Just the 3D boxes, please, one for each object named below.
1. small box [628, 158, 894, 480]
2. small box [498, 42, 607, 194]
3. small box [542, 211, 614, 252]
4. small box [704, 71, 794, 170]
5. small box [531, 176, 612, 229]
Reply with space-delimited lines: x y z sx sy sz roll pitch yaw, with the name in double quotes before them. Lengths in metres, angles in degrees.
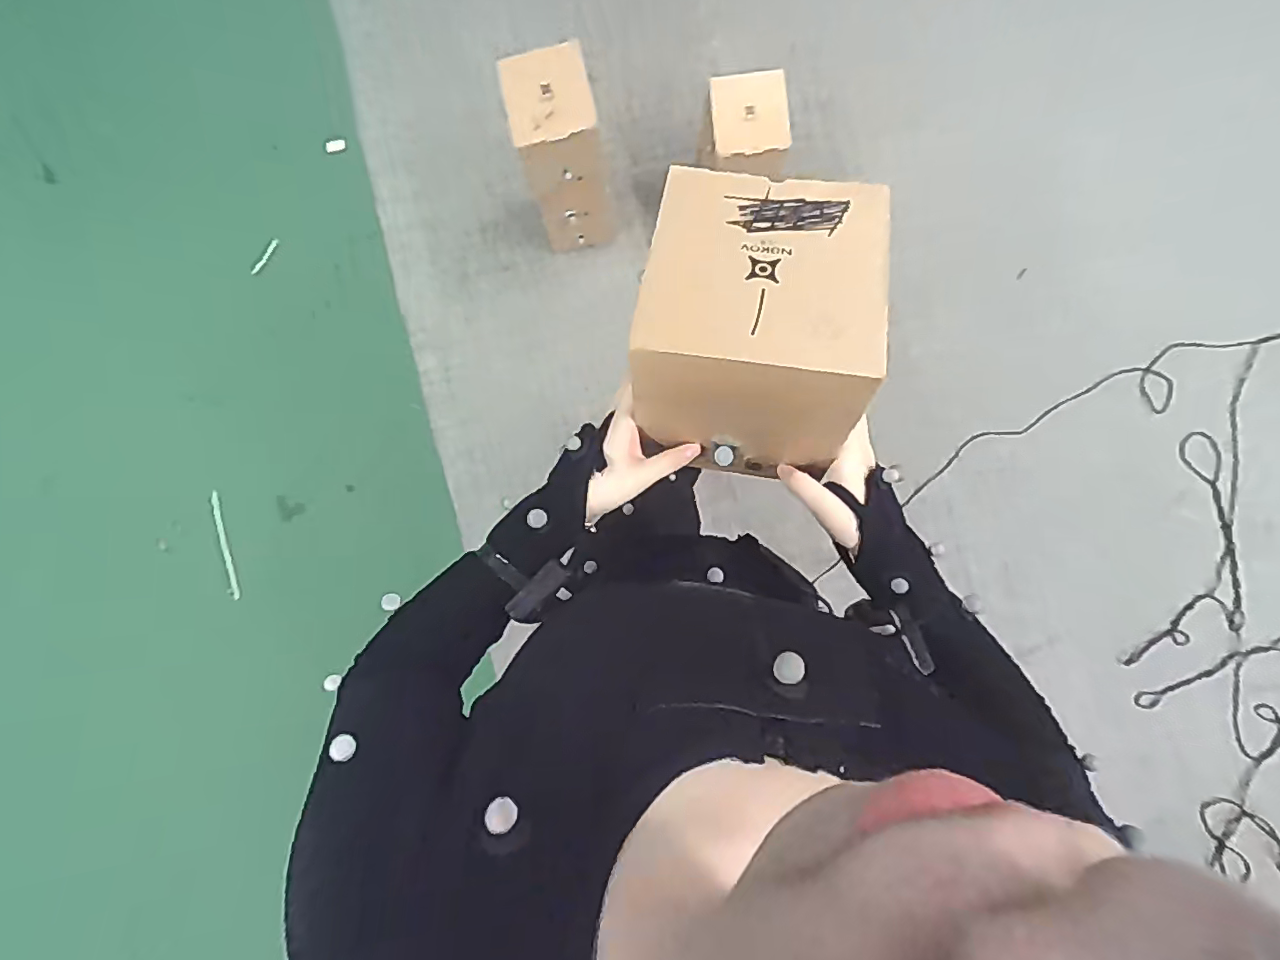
"small box" 0.091 -0.122 0.442 0.168 0.176 0.179 9 67 8
"small box" -0.170 -0.723 1.096 0.168 0.176 0.179 -13 89 3
"small box" -0.167 -0.722 1.424 0.168 0.176 0.179 -10 90 1
"small box" 0.245 -0.793 1.251 0.168 0.176 0.179 -7 90 2
"small box" -0.168 -0.723 1.261 0.168 0.176 0.179 -13 90 3
